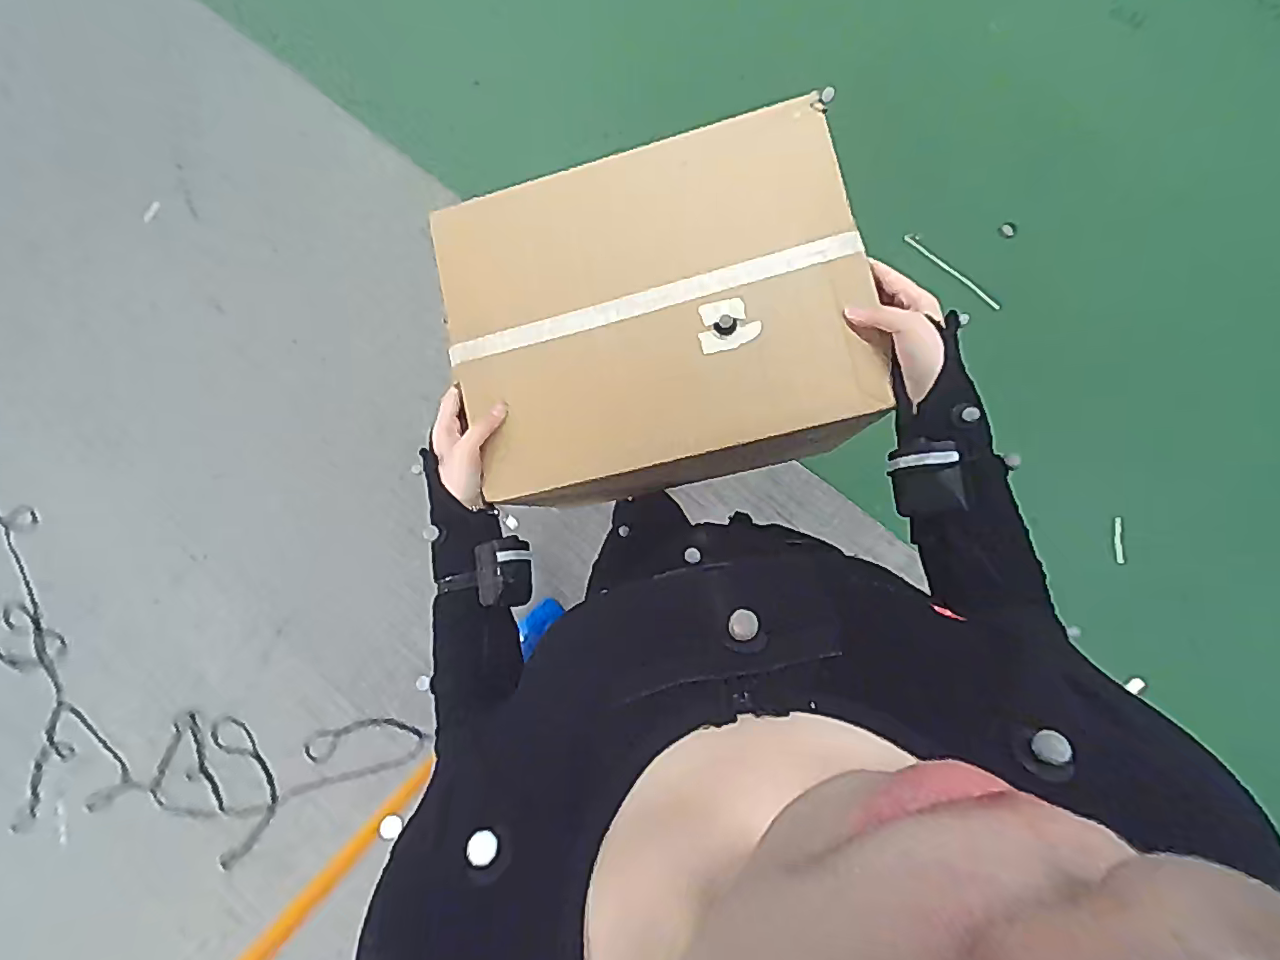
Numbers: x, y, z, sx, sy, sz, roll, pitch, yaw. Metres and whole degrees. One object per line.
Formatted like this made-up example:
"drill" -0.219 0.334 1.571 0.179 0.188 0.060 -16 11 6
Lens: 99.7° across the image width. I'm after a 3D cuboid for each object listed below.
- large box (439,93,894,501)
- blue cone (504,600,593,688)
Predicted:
"large box" 0.028 -0.172 0.676 0.408 0.320 0.320 -13 84 6
"blue cone" -0.266 0.444 1.340 0.192 0.380 0.193 -42 85 1
